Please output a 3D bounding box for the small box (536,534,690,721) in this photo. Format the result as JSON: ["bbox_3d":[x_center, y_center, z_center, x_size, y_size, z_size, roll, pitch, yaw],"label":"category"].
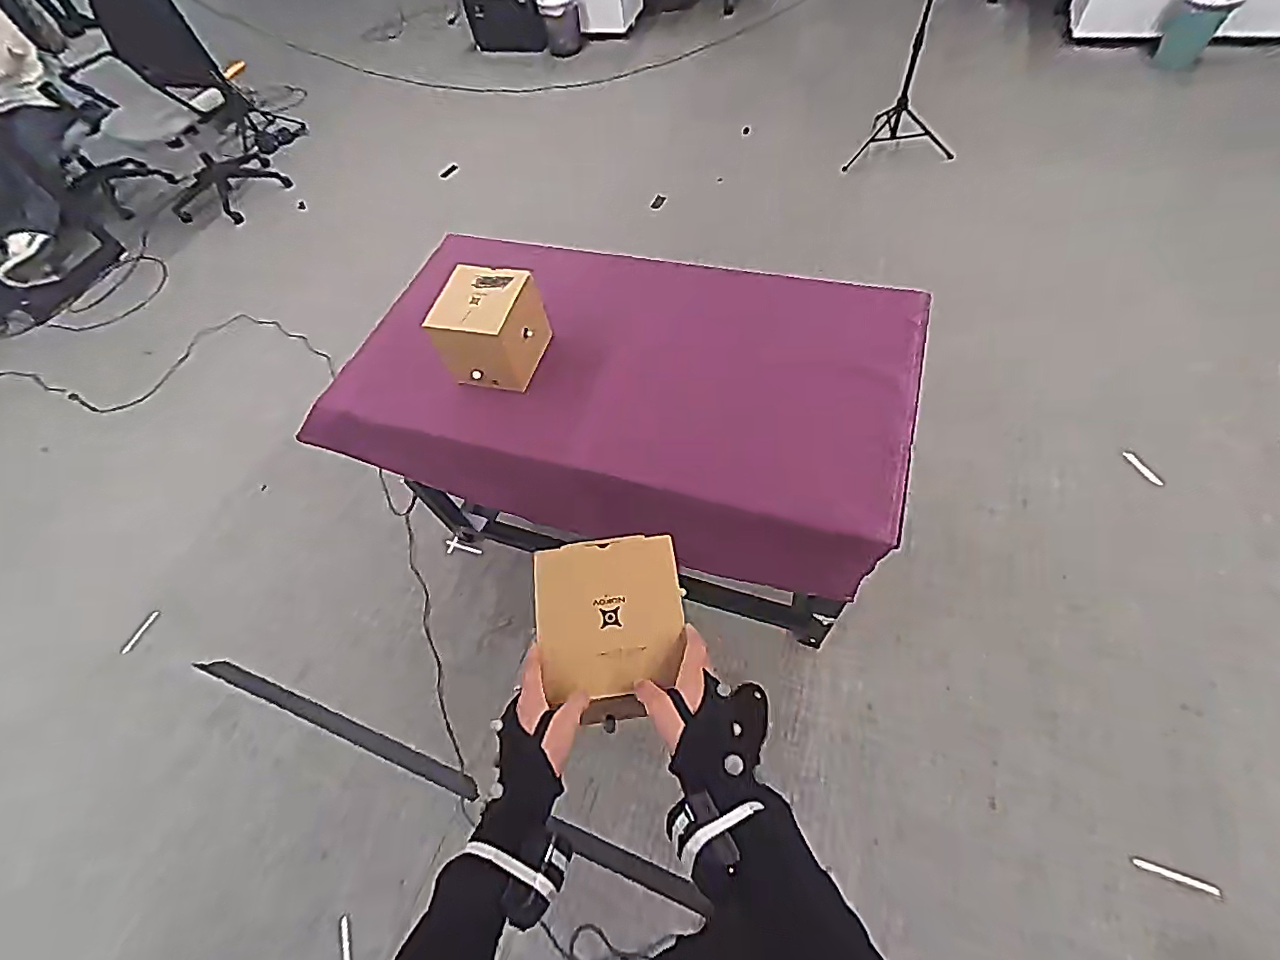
[{"bbox_3d":[-0.035,0.188,0.678,0.168,0.176,0.179,-6,58,-3],"label":"small box"}]

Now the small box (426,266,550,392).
[{"bbox_3d":[-0.301,-0.311,1.121,0.168,0.176,0.179,10,62,14],"label":"small box"}]
